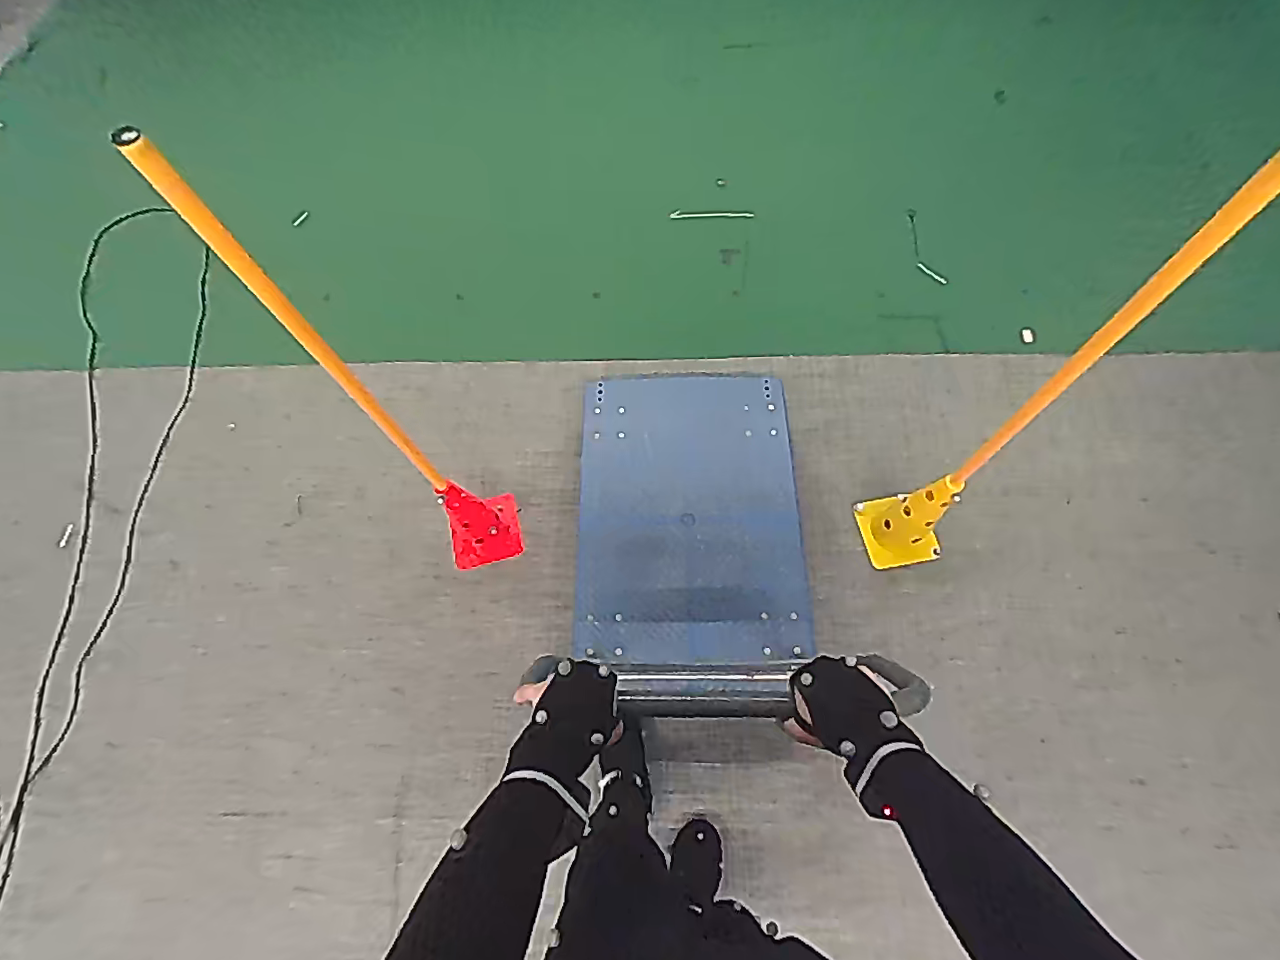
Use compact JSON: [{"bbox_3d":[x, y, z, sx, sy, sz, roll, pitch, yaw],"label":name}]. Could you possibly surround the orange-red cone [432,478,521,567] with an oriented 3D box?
[{"bbox_3d":[-0.464,0.082,1.431,0.199,0.360,0.198,-14,67,-2],"label":"orange-red cone"}]
